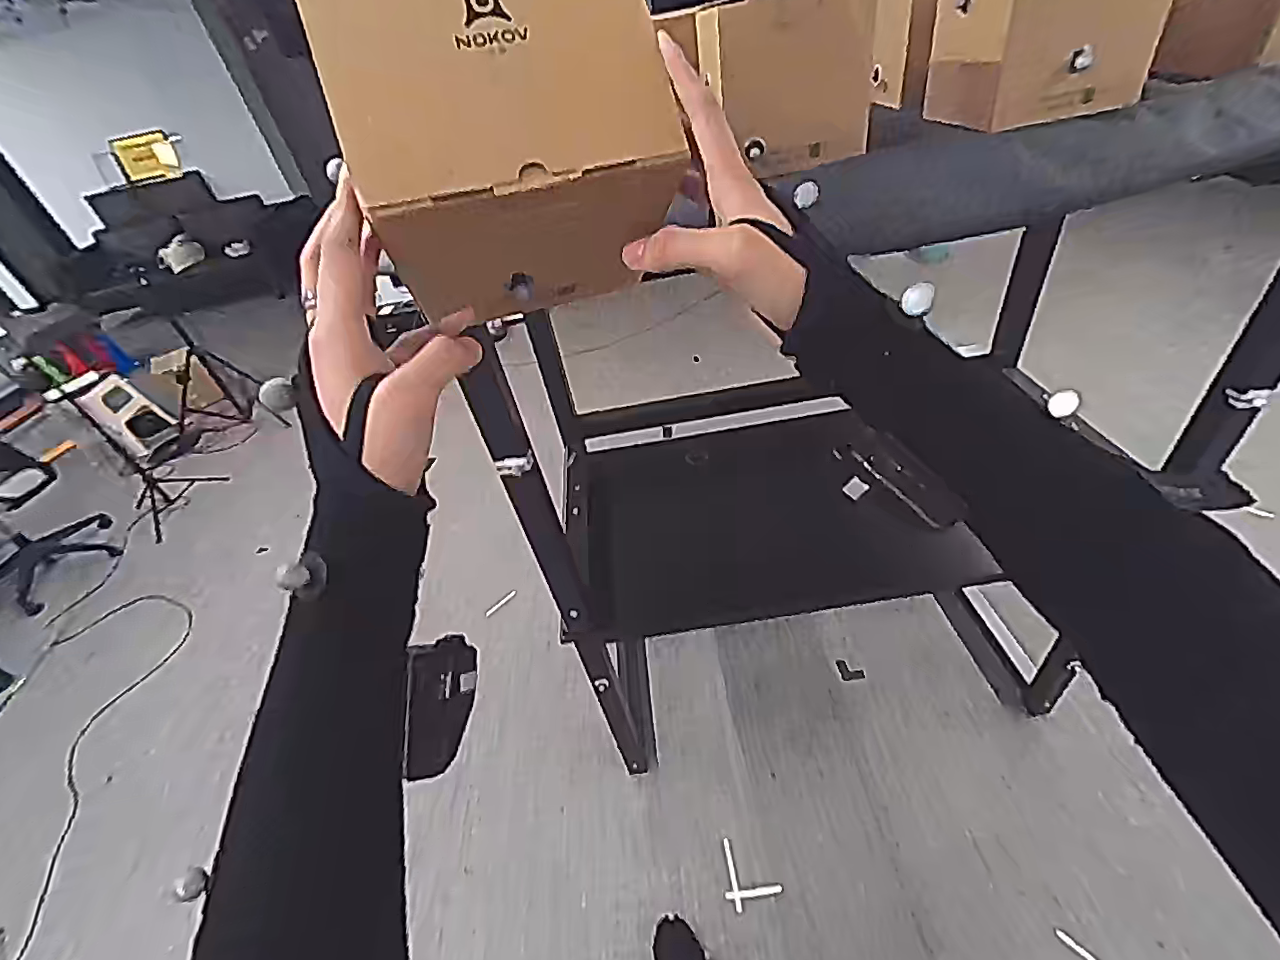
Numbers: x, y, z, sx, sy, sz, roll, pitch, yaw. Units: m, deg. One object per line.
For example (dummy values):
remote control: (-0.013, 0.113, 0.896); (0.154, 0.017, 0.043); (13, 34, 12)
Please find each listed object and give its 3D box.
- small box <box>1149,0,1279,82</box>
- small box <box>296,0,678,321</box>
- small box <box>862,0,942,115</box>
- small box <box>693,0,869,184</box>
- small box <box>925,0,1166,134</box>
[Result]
small box: (0.764, -0.581, 0.629); (0.168, 0.176, 0.179); (-8, 39, 6)
small box: (-0.095, -0.226, 0.345); (0.168, 0.179, 0.176); (-17, 0, -11)
small box: (0.456, -0.681, 0.827); (0.179, 0.176, 0.168); (-8, 39, 4)
small box: (0.163, -0.473, 0.654); (0.168, 0.176, 0.179); (-9, 38, 3)
small box: (0.461, -0.521, 0.634); (0.168, 0.176, 0.179); (-9, 38, 5)
